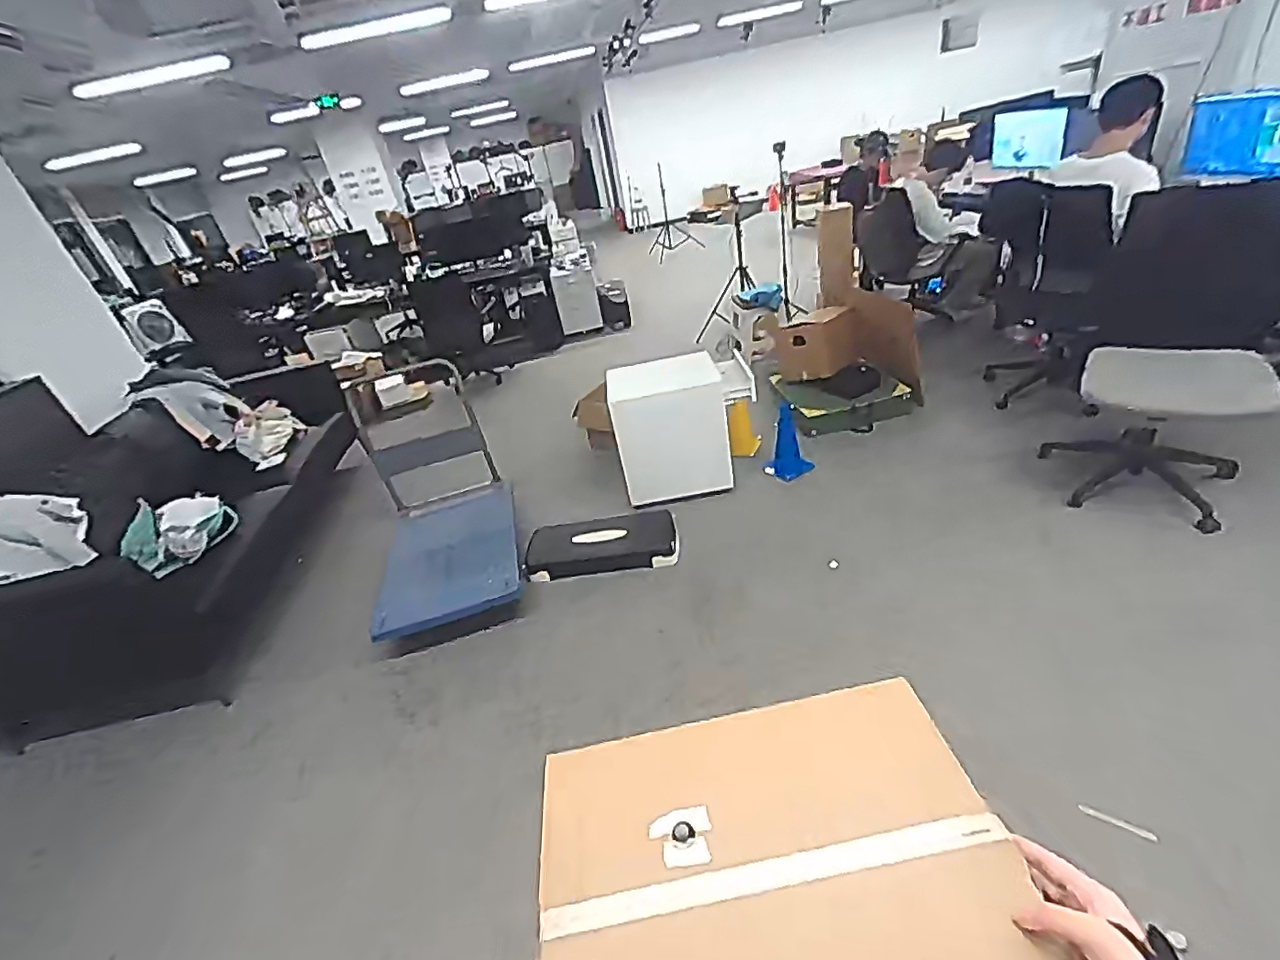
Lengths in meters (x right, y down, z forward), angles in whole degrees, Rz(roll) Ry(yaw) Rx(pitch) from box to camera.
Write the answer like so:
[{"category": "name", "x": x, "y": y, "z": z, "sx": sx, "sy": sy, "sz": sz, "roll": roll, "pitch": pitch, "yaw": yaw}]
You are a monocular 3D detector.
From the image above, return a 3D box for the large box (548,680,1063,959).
[{"category": "large box", "x": 0.145, "y": 0.472, "z": 0.562, "sx": 0.408, "sy": 0.320, "sz": 0.320, "roll": -15, "pitch": 33, "yaw": 2}]
